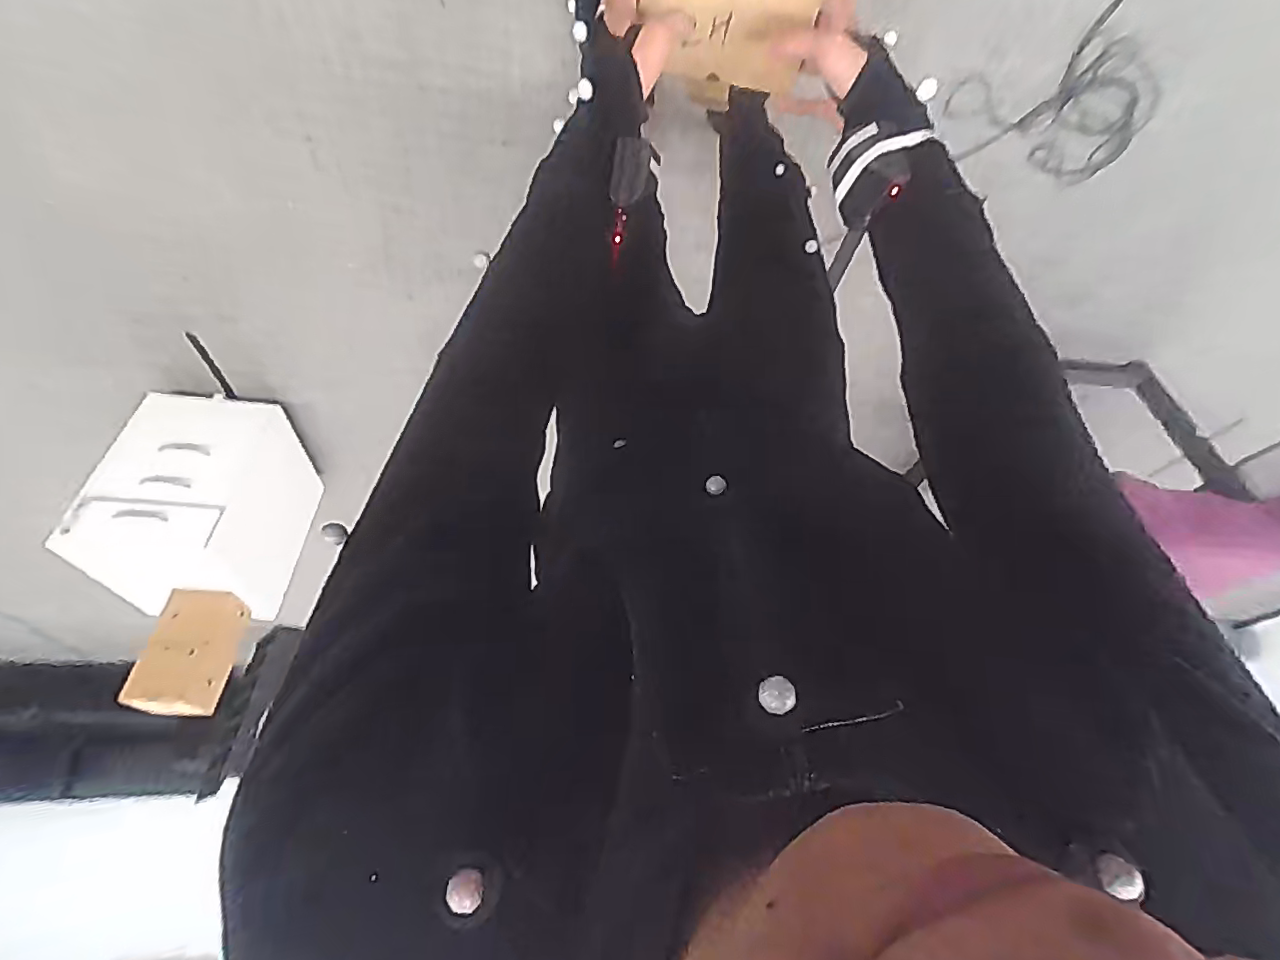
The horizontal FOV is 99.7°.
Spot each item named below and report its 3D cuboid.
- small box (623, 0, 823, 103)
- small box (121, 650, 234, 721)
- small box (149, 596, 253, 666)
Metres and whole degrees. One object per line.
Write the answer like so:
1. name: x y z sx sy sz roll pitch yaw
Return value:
1. small box: 0.078 -0.501 0.511 0.168 0.176 0.179 3 144 -11
2. small box: -1.370 0.614 1.616 0.168 0.176 0.179 4 146 -6
3. small box: -1.373 0.477 1.706 0.179 0.176 0.168 6 144 -9
